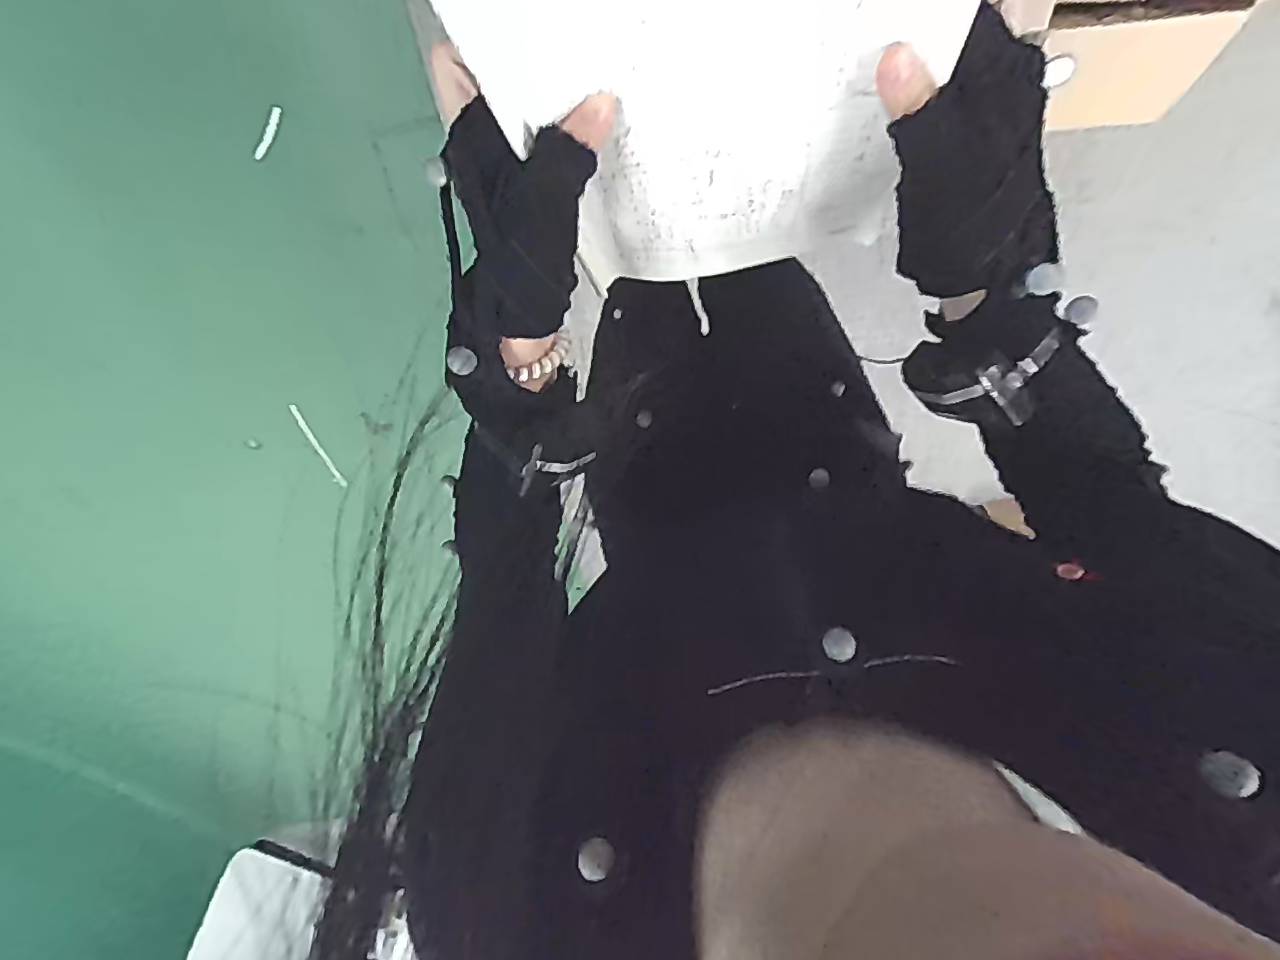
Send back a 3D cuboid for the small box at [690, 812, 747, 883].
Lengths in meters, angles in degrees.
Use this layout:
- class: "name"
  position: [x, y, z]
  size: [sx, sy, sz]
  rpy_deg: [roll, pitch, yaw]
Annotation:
- class: "small box"
  position: [0.265, 1.259, 1.852]
  size: [0.168, 0.176, 0.179]
  rpy_deg: [-5, 132, 0]
